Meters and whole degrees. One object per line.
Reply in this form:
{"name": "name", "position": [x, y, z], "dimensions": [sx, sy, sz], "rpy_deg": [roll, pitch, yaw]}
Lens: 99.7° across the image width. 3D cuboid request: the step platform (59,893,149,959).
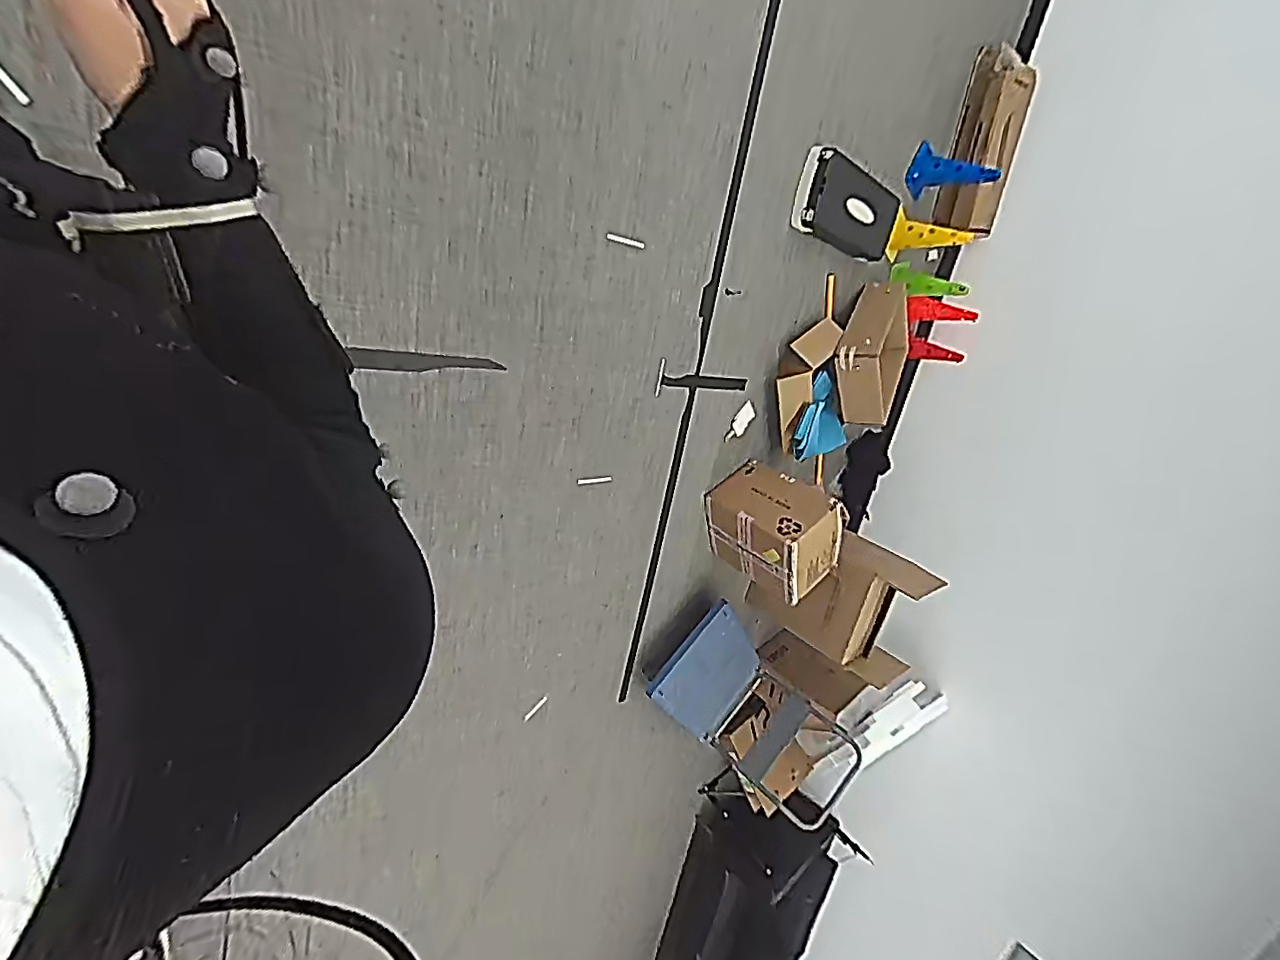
{"name": "step platform", "position": [-1.509, 1.240, 1.153], "dimensions": [0.684, 0.204, 0.286], "rpy_deg": [-8, 118, -44]}
